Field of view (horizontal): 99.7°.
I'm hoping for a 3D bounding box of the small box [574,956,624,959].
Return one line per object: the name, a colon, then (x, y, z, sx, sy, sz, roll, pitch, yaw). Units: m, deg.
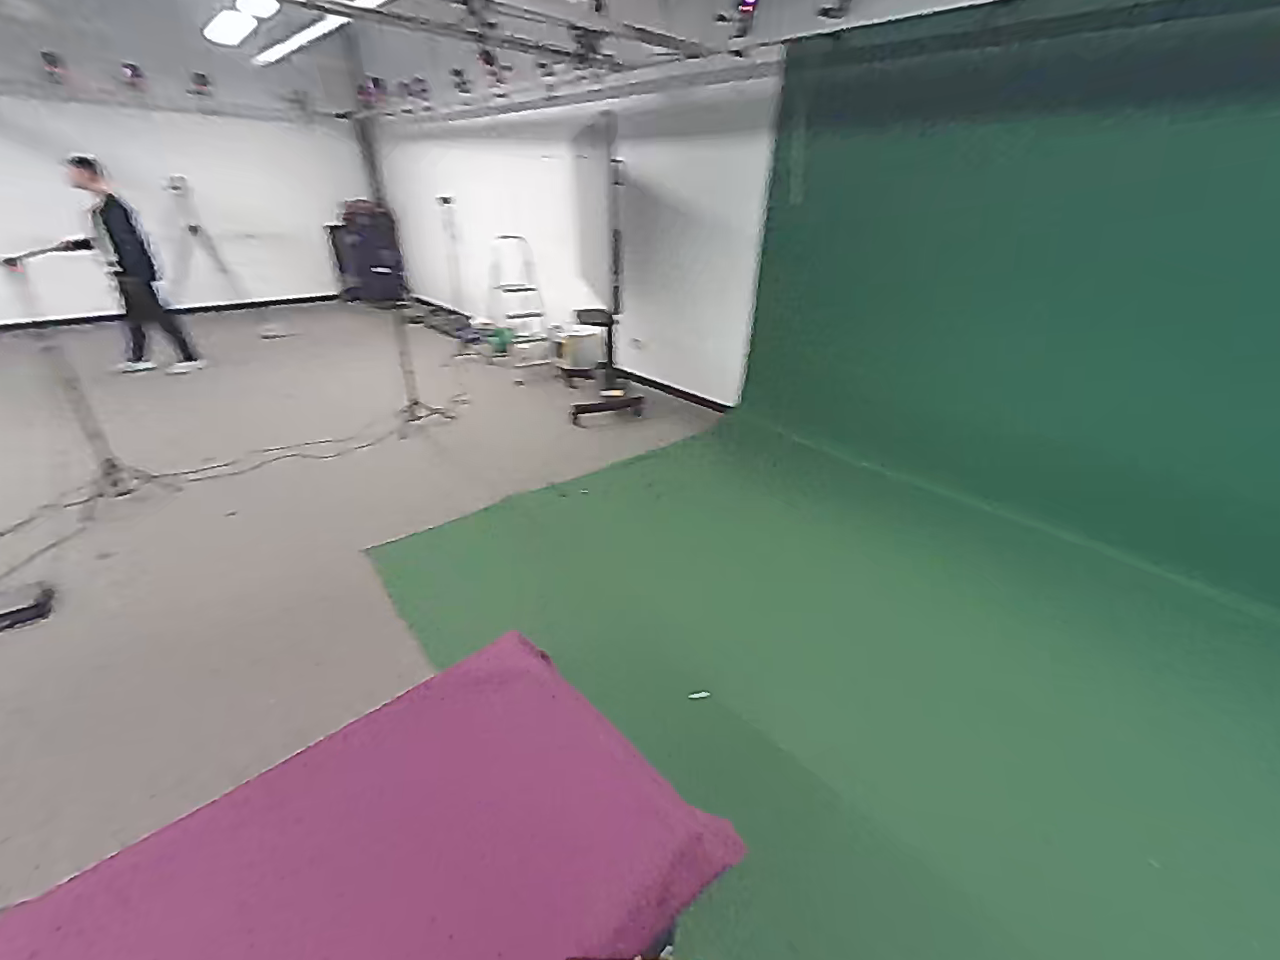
small box: (0.000, 0.642, 0.548, 0.168, 0.176, 0.179, -1, 17, 5)
